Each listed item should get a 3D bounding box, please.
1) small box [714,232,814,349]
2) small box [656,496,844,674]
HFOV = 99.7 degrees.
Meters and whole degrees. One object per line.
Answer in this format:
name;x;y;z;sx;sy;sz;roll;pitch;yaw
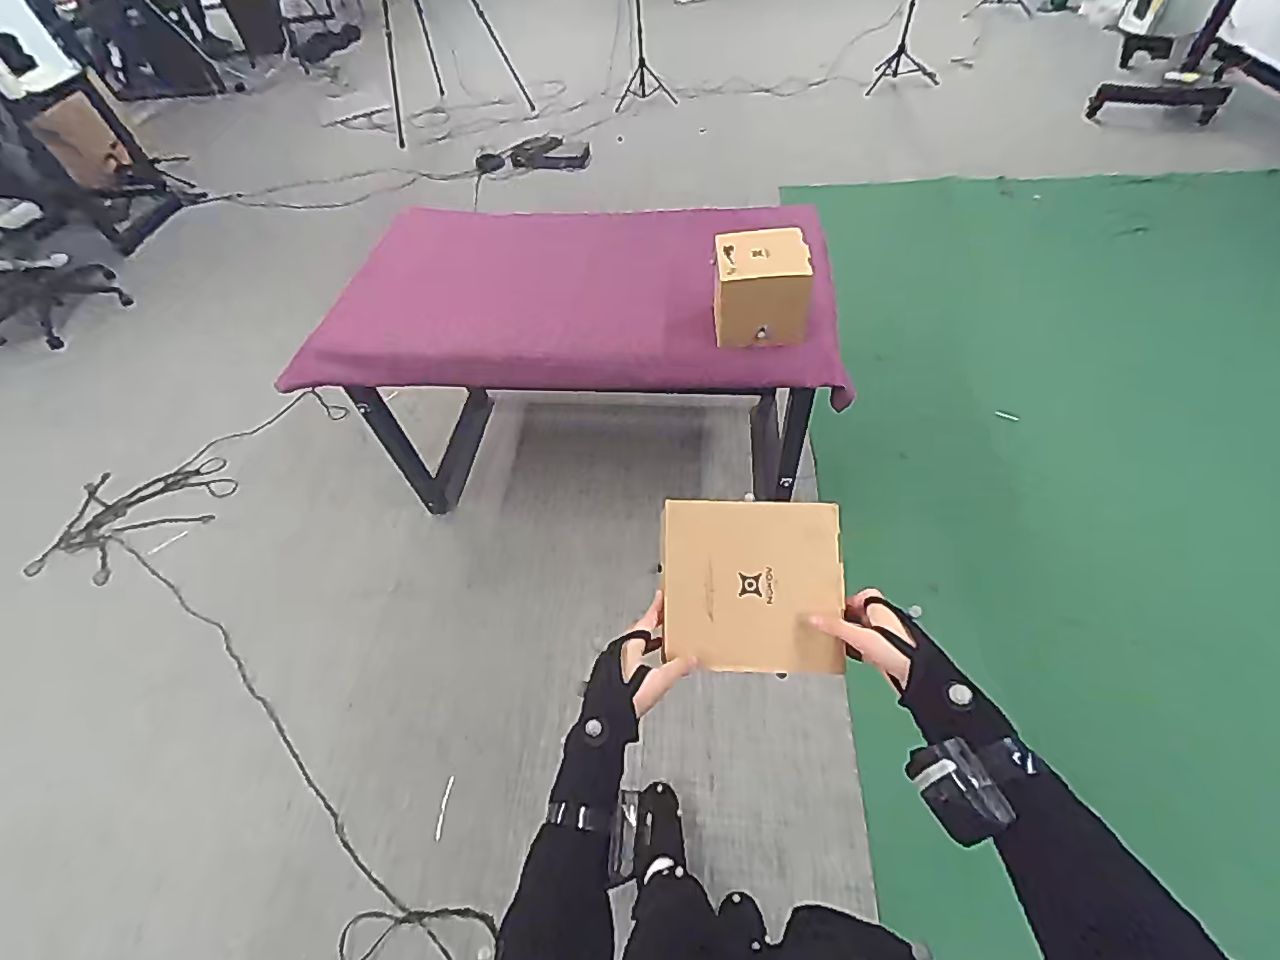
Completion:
small box;0.248;-0.390;1.125;0.179;0.176;0.168;-2;53;5
small box;0.109;0.115;0.603;0.179;0.176;0.168;2;78;1
